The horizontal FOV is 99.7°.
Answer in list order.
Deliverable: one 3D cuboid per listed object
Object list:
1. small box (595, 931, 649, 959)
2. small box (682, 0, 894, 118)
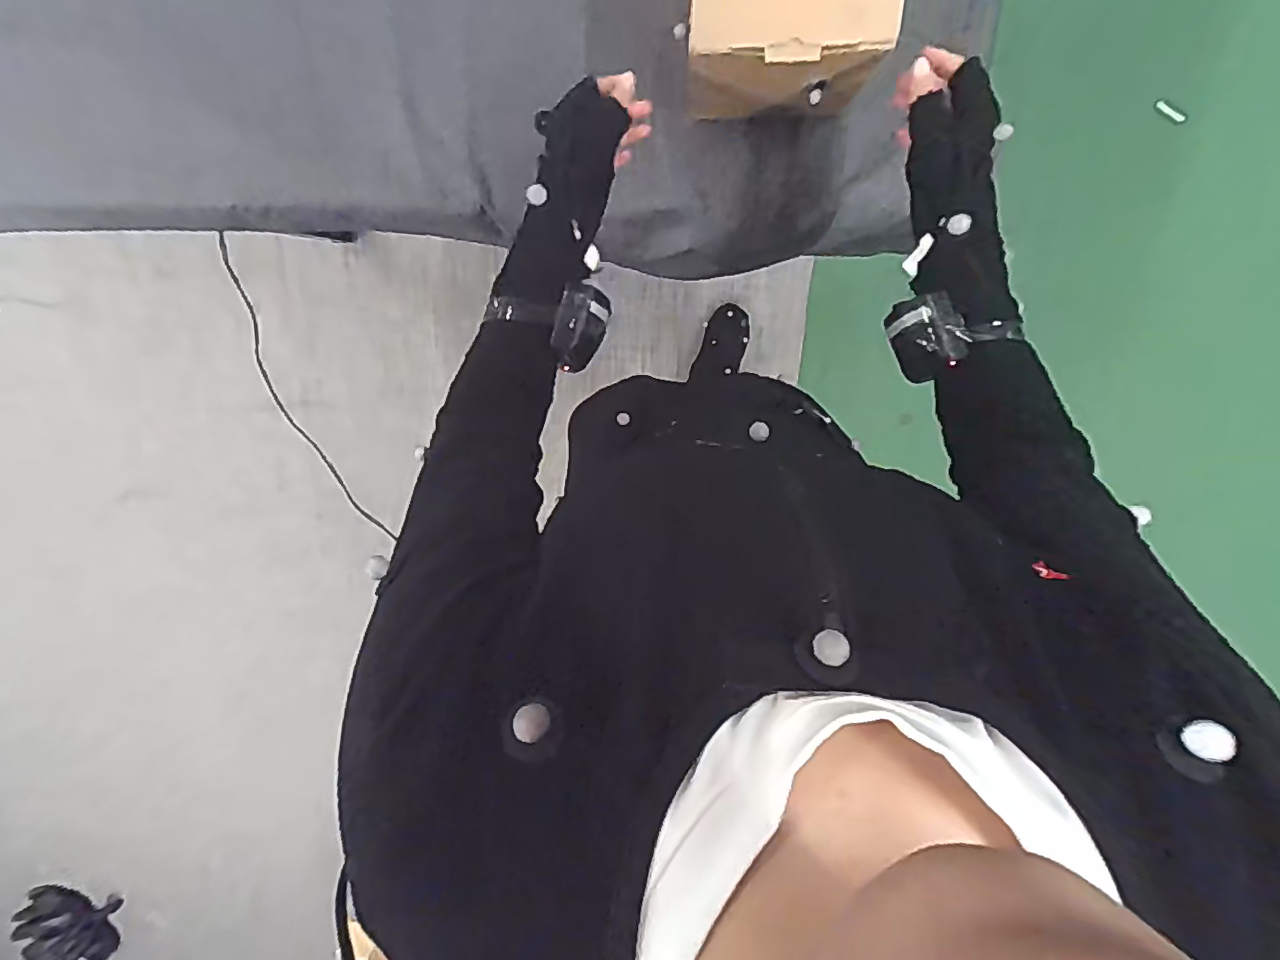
[{"bbox_3d":[-0.065,1.772,1.953,0.168,0.176,0.179,-12,109,7],"label":"small box"},{"bbox_3d":[0.123,-0.448,0.487,0.168,0.176,0.179,0,107,4],"label":"small box"}]
